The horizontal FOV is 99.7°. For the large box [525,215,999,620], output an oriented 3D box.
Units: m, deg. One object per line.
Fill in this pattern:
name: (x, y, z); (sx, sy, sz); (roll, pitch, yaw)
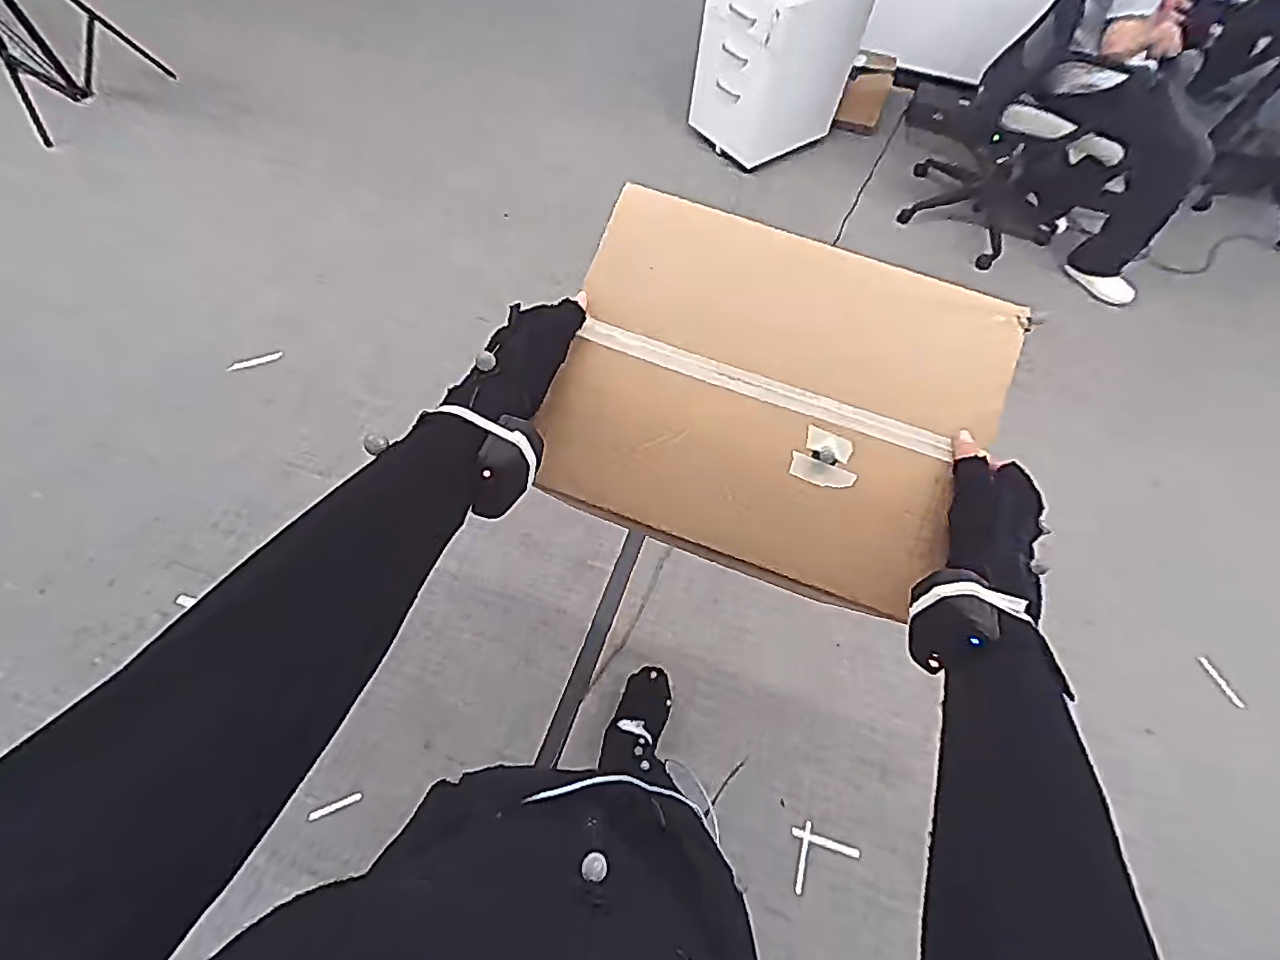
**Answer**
large box: (0.123, -0.053, 0.677); (0.408, 0.320, 0.320); (20, 84, 4)
